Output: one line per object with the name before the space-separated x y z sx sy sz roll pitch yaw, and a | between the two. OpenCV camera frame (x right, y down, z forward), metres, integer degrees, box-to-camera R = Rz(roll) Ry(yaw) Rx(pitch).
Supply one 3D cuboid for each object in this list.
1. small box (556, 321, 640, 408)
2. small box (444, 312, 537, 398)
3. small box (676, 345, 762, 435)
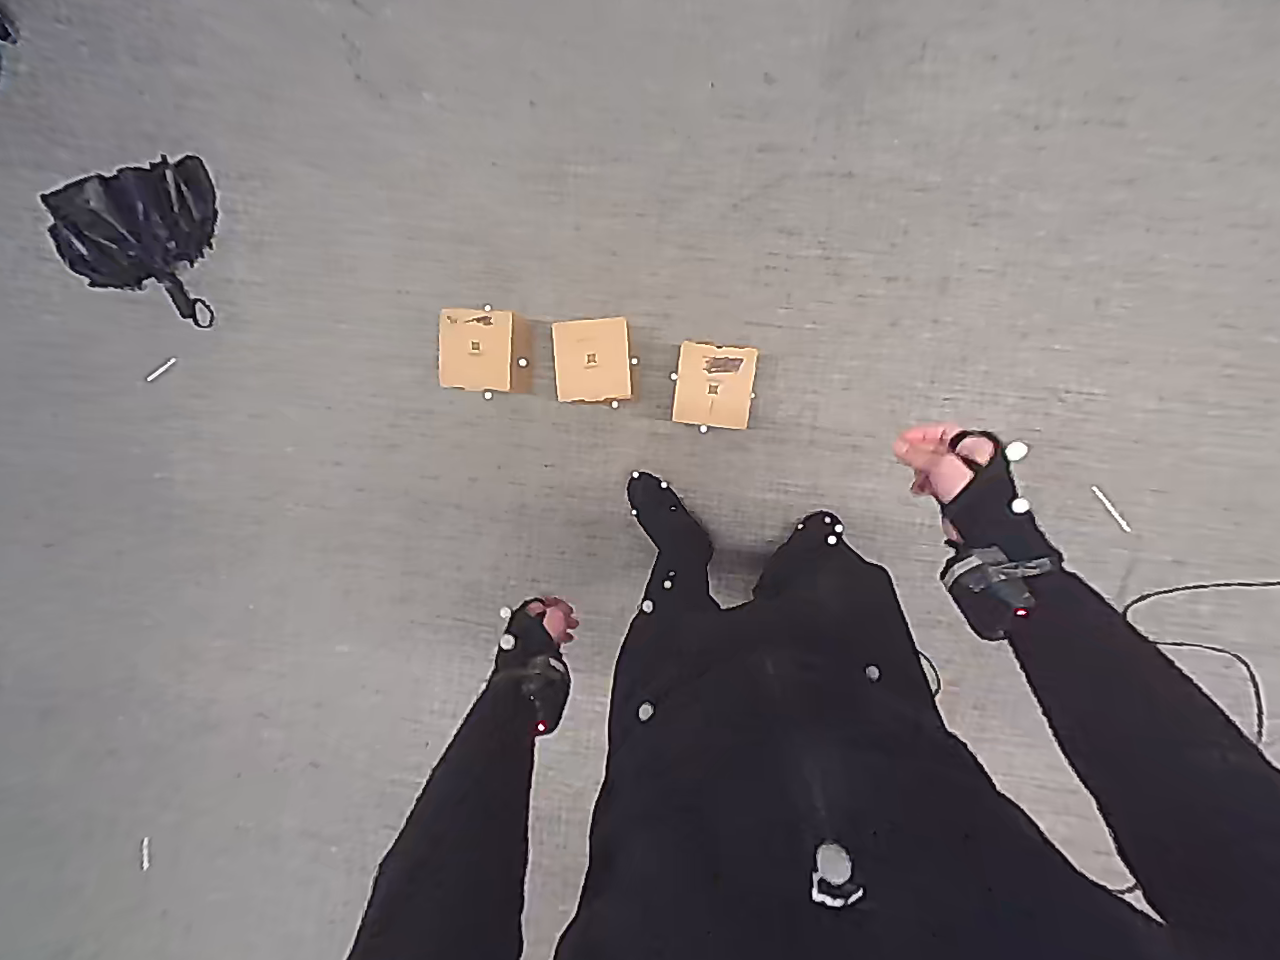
small box | -0.091 -0.260 1.256 0.168 0.176 0.179 -4 93 4
small box | -0.346 -0.288 1.273 0.168 0.176 0.179 5 96 5
small box | 0.175 -0.201 1.236 0.168 0.176 0.179 8 97 5
